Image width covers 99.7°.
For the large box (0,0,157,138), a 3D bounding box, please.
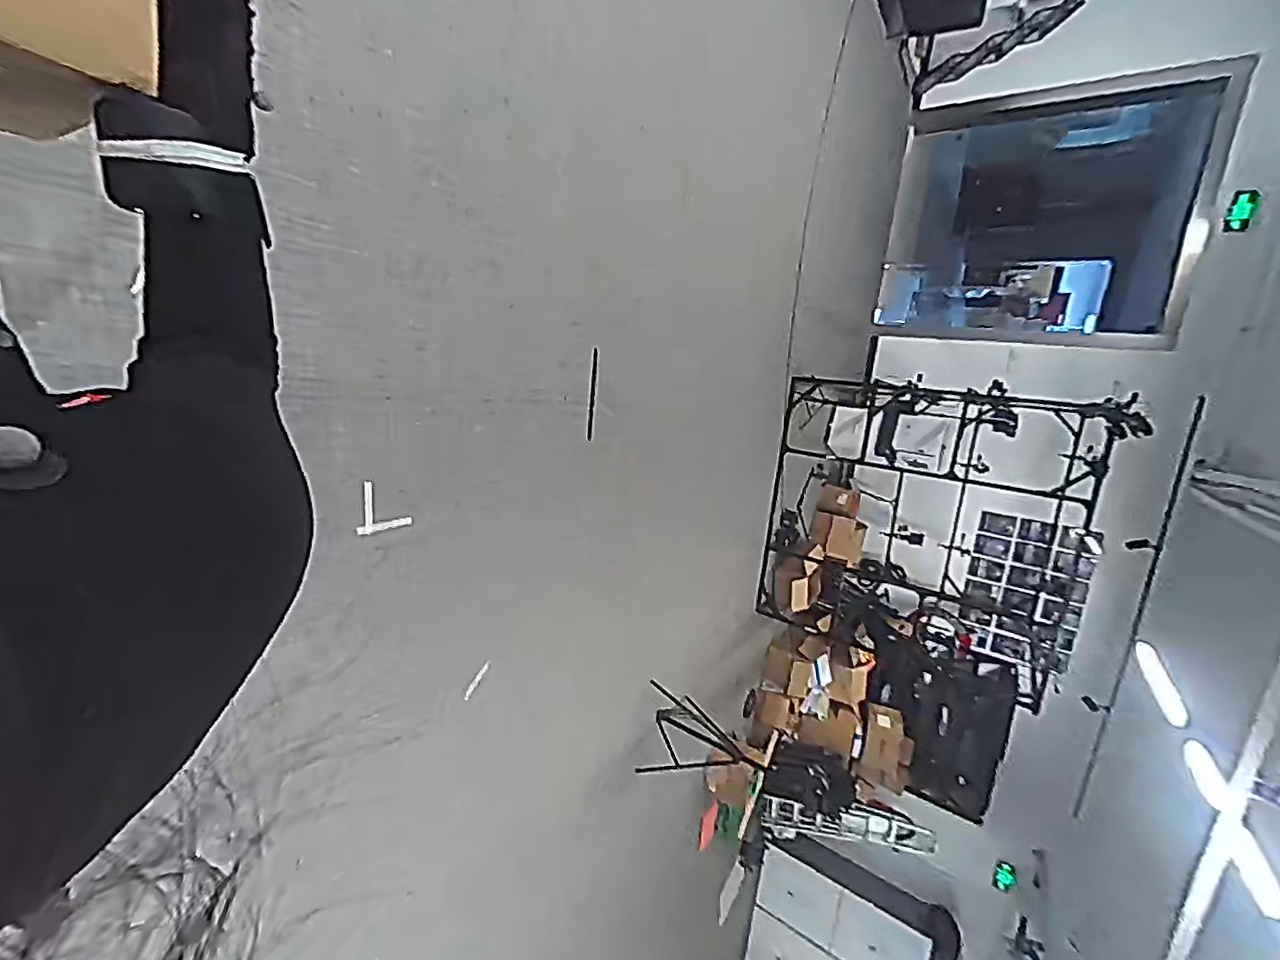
[{"bbox_3d":[-0.525,-0.407,0.233,0.408,0.320,0.320,-9,112,-56],"label":"large box"}]
